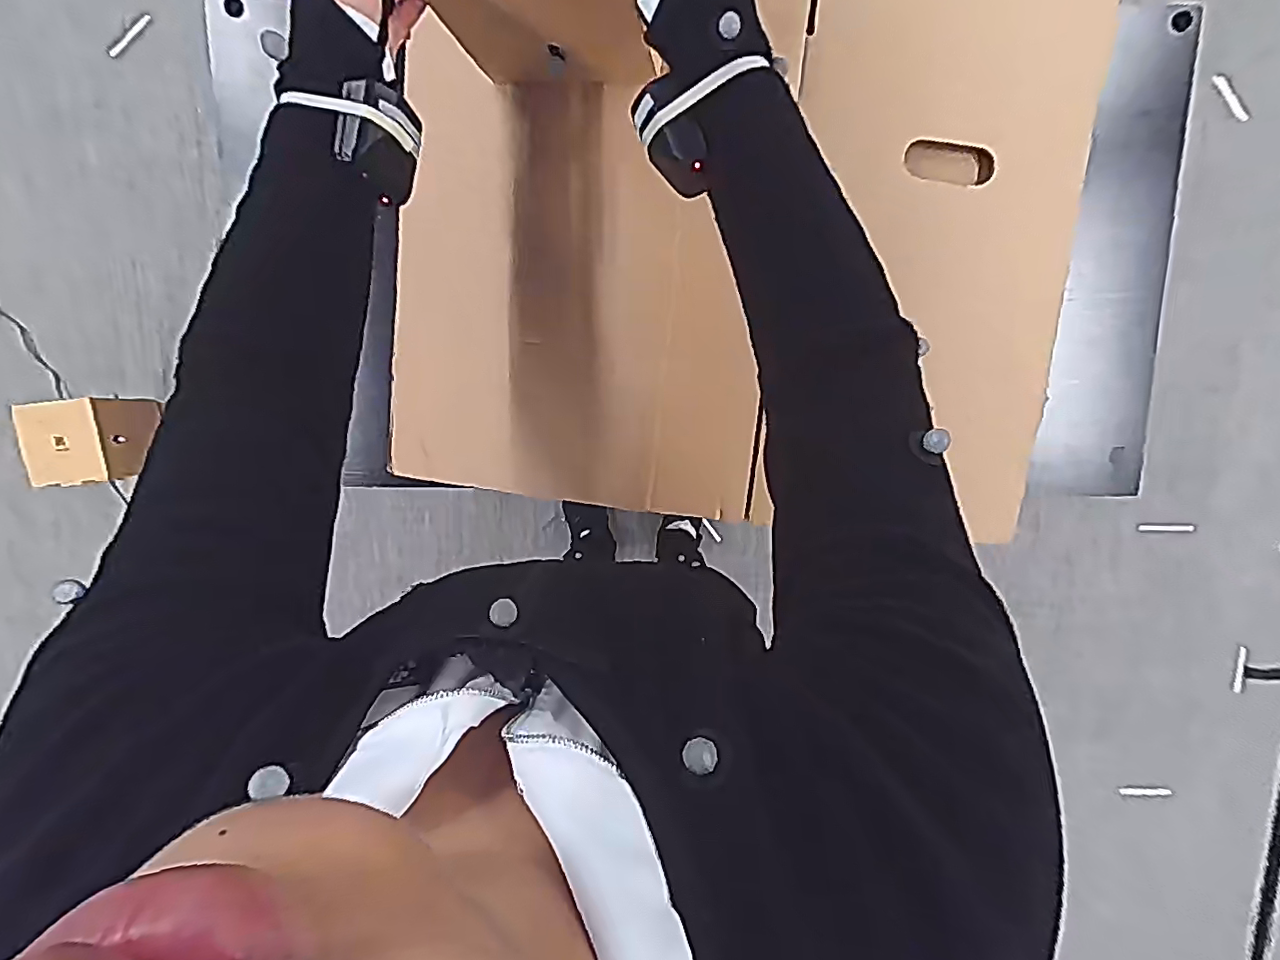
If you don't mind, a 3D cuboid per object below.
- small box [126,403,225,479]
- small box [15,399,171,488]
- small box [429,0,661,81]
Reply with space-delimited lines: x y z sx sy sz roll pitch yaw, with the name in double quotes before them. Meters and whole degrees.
"small box" -1.202 -0.101 1.368 0.168 0.176 0.179 -4 98 0
"small box" -1.202 -0.086 1.206 0.168 0.176 0.179 -6 97 0
"small box" -0.073 -0.456 0.434 0.179 0.176 0.168 8 97 11
